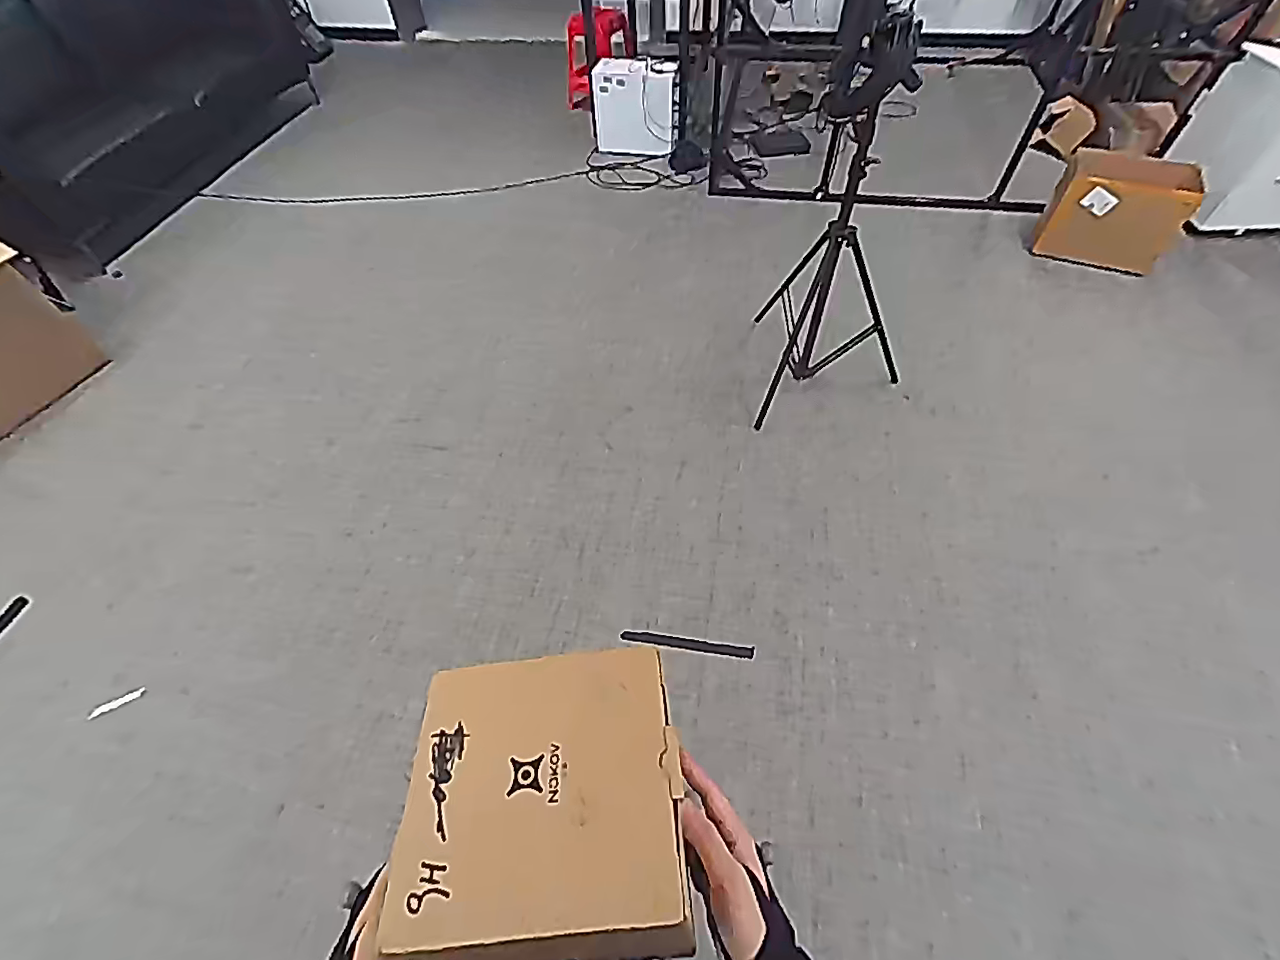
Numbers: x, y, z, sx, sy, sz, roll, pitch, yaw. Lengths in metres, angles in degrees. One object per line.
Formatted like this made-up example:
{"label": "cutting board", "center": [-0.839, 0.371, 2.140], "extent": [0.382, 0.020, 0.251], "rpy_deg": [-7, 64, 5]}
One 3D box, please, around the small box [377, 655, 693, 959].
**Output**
{"label": "small box", "center": [-0.056, 0.252, 0.406], "extent": [0.179, 0.176, 0.168], "rpy_deg": [-6, 44, 1]}
